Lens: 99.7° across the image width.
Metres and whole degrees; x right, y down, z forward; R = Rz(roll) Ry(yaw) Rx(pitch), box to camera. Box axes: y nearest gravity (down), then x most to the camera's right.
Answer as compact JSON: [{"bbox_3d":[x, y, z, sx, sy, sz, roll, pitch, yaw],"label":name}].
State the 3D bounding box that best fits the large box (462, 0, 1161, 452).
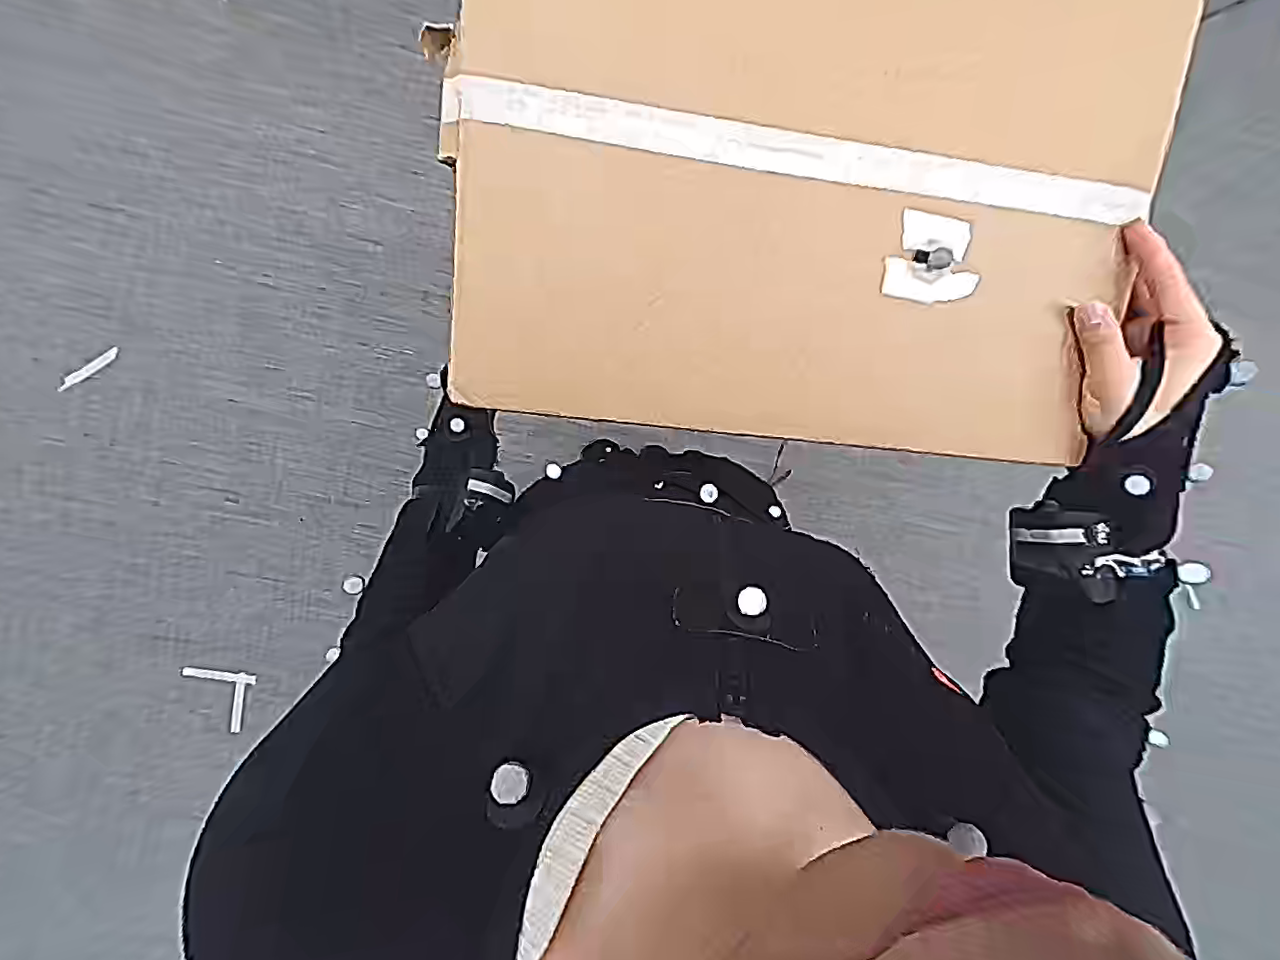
[{"bbox_3d":[0.082,-0.207,0.460,0.408,0.320,0.320,4,101,-9],"label":"large box"}]
